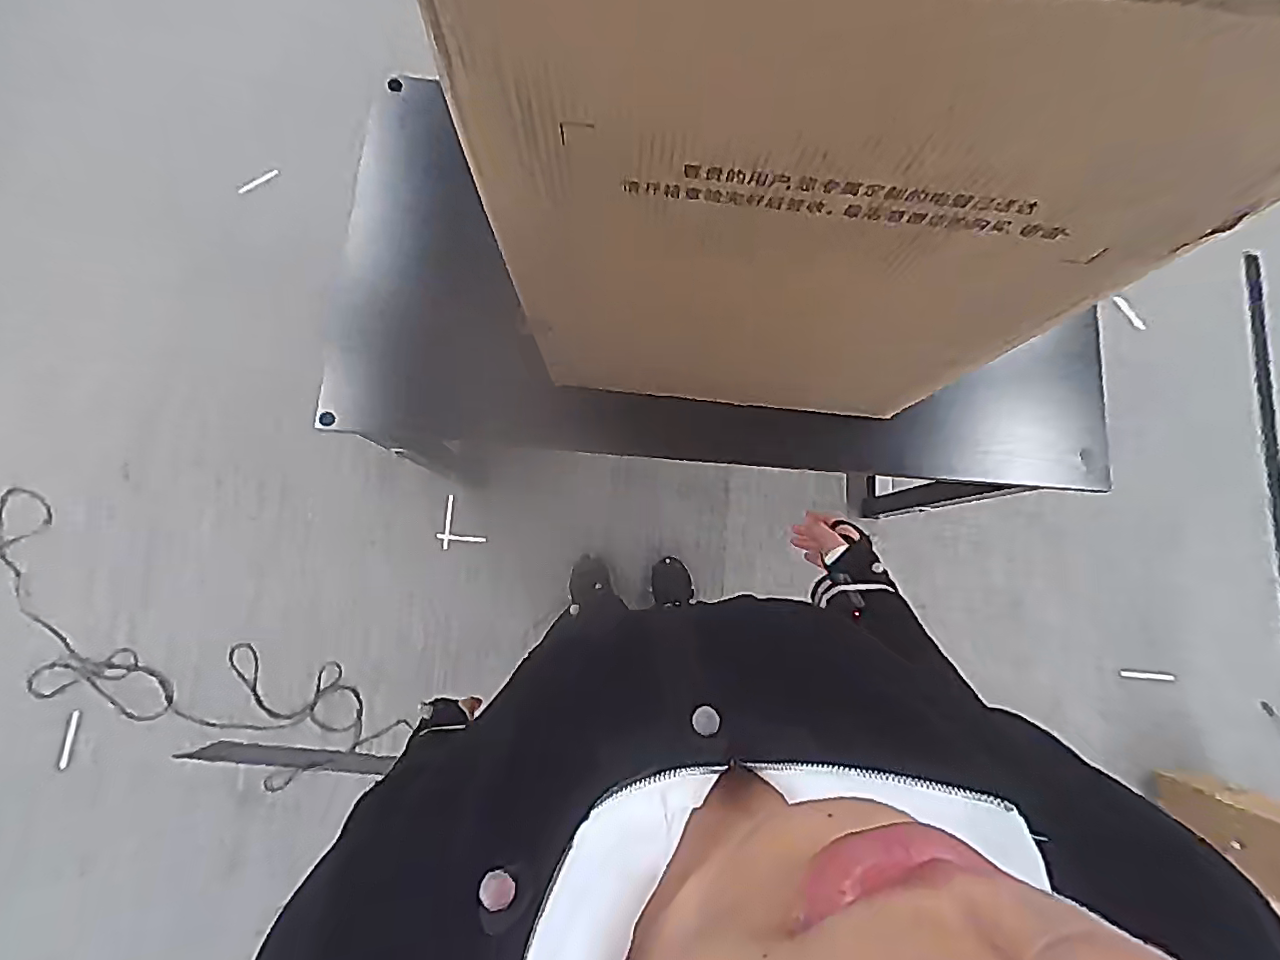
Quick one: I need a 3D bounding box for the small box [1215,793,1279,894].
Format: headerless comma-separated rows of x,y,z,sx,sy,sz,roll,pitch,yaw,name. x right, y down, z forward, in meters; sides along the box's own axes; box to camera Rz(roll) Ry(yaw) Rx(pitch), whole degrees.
1.475,0.832,1.222,0.179,0.176,0.168,5,80,-1,small box

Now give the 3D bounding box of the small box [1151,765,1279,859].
1.478,0.850,1.386,0.179,0.176,0.168,5,80,0,small box
